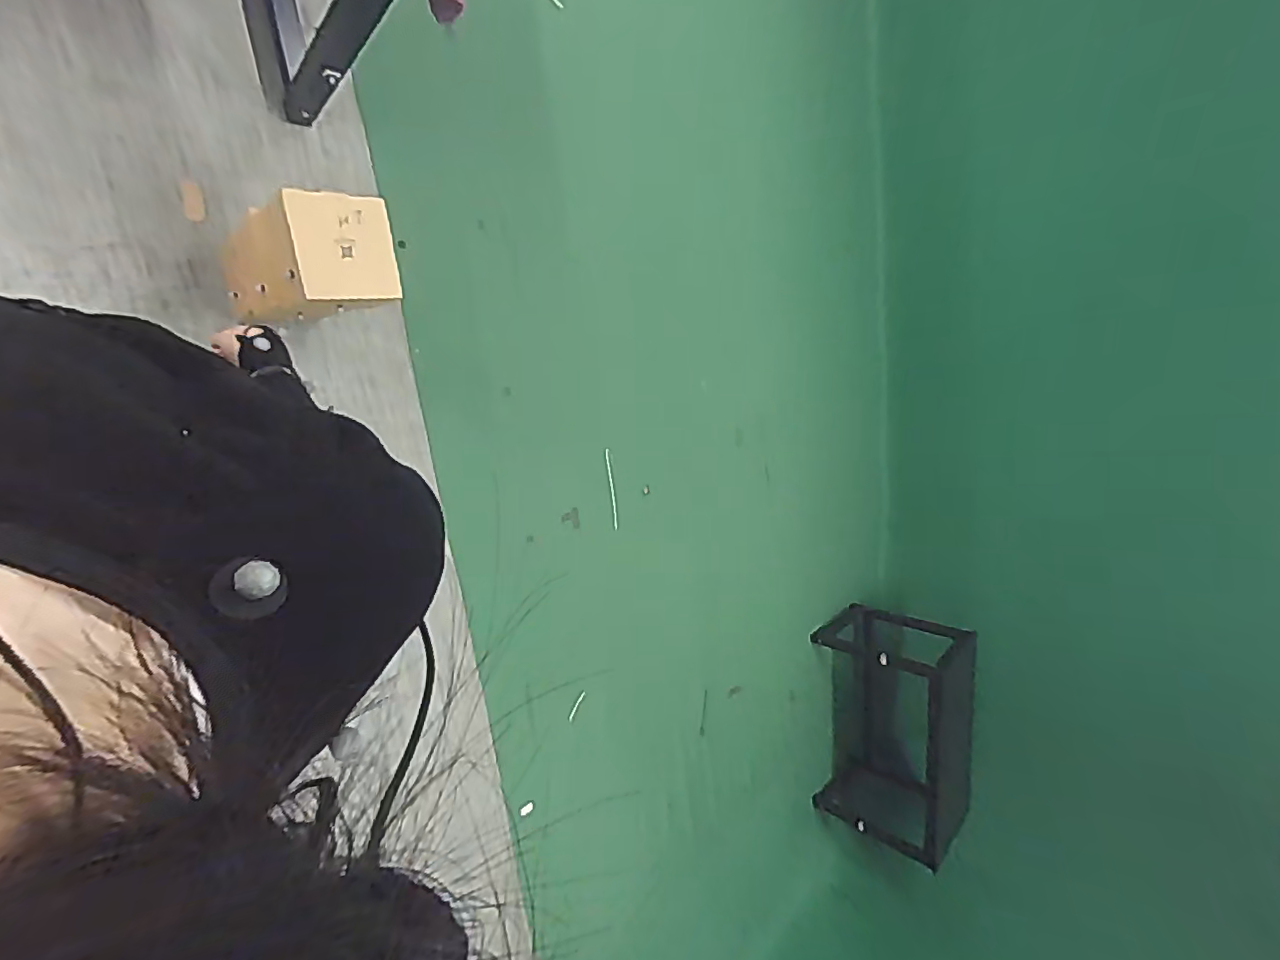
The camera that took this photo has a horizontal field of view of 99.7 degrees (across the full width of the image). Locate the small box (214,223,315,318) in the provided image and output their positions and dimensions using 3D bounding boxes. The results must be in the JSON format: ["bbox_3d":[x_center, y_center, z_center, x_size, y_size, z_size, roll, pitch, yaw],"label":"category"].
[{"bbox_3d":[-0.822,-0.456,1.203,0.179,0.176,0.168,-16,107,-43],"label":"small box"}]

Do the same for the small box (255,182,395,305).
[{"bbox_3d":[-0.576,-0.418,0.990,0.168,0.176,0.179,-18,109,-43],"label":"small box"}]

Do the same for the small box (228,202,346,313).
[{"bbox_3d":[-0.704,-0.440,1.093,0.168,0.176,0.179,-20,110,-42],"label":"small box"}]
